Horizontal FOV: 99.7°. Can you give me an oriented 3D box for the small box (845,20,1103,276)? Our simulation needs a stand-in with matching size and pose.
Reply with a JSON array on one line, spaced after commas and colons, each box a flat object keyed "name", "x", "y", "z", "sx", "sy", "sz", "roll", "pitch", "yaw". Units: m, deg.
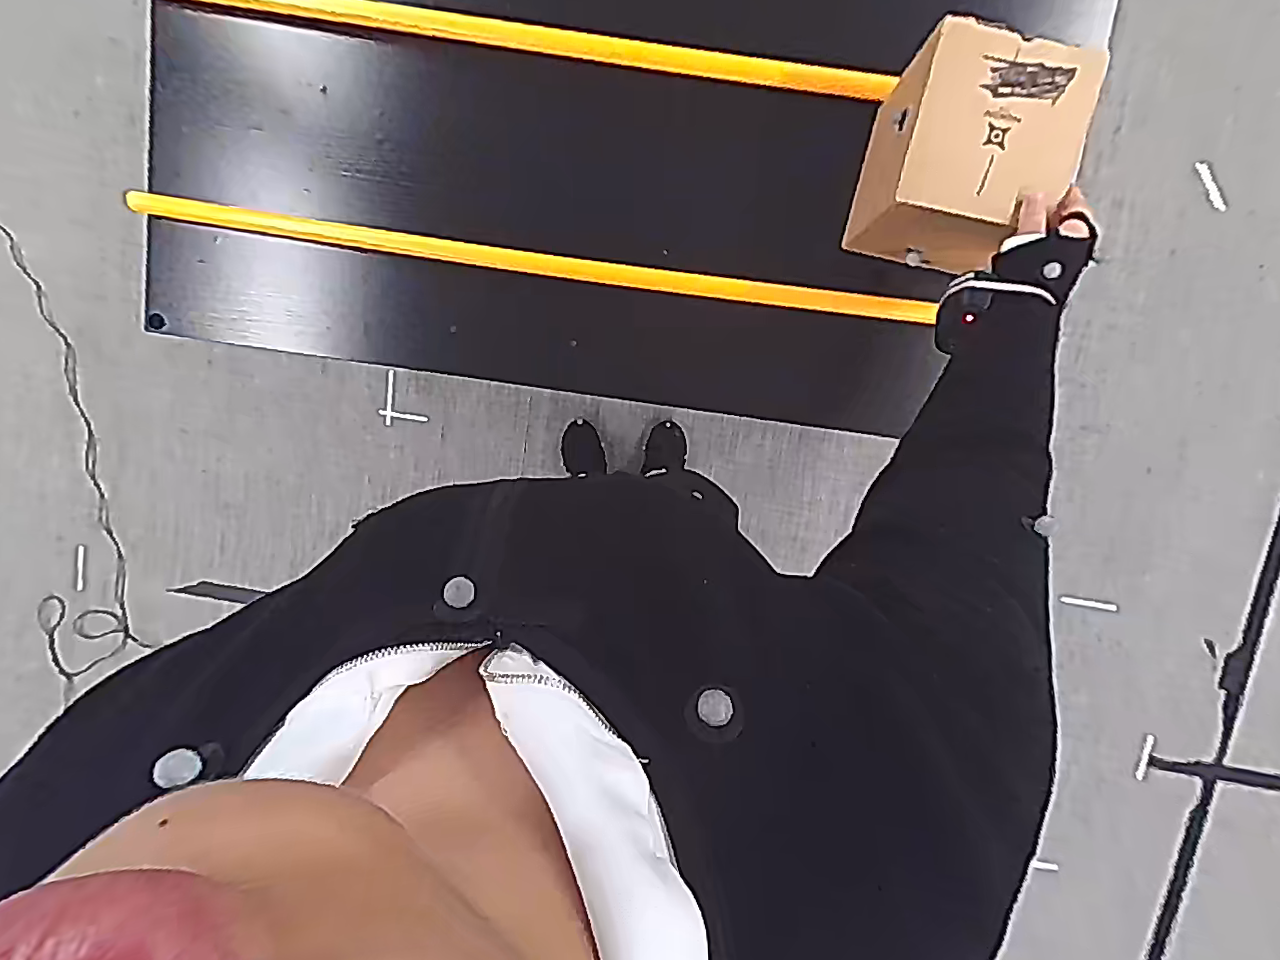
[{"name": "small box", "x": 0.356, "y": -0.356, "z": 0.616, "sx": 0.168, "sy": 0.176, "sz": 0.179, "roll": 14, "pitch": 98, "yaw": 1}]
